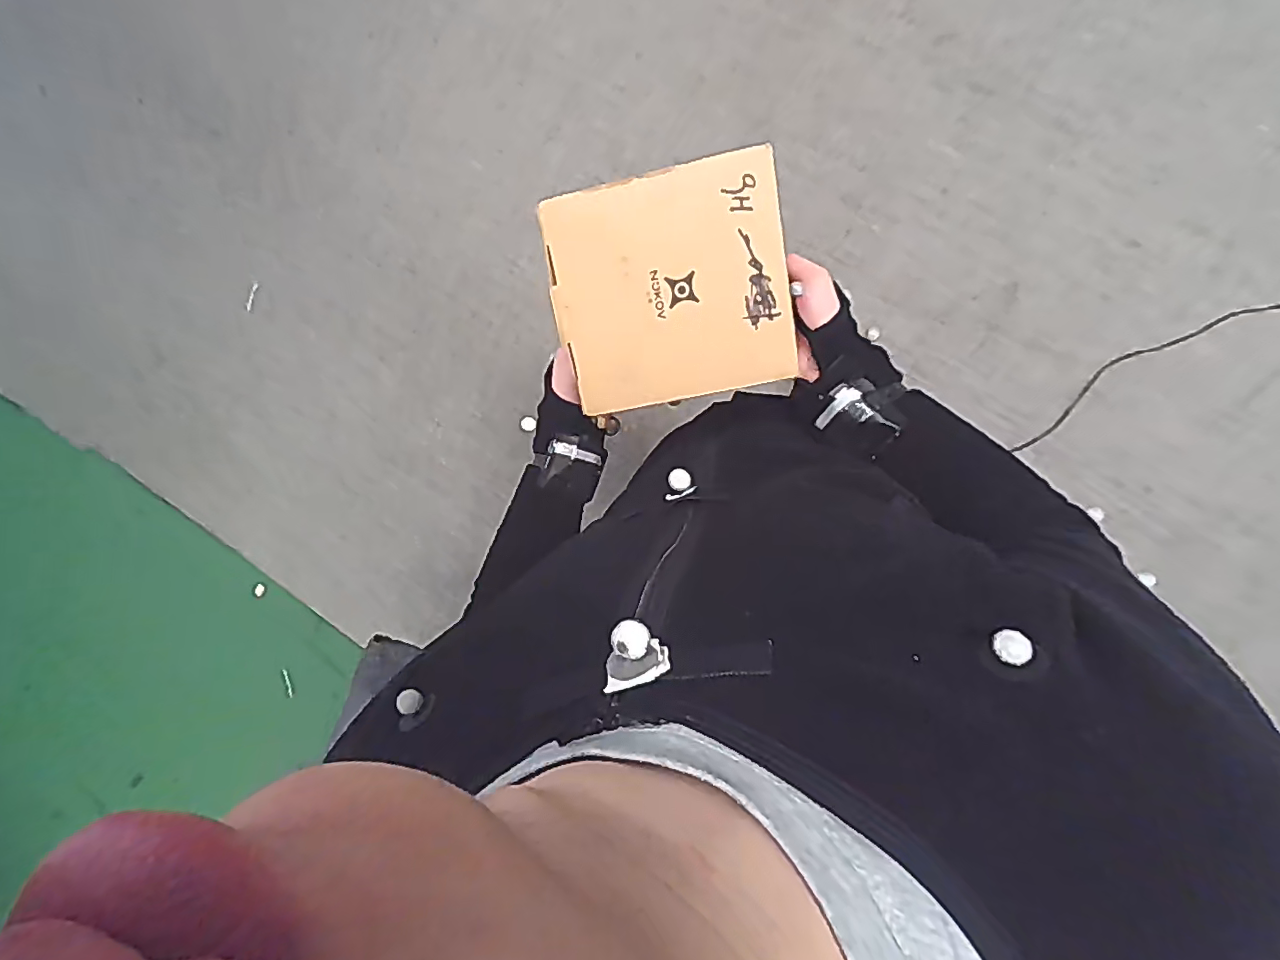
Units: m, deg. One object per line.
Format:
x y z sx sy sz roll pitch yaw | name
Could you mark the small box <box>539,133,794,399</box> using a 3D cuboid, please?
0.031 -0.176 0.485 0.179 0.176 0.168 -9 106 9 | small box
